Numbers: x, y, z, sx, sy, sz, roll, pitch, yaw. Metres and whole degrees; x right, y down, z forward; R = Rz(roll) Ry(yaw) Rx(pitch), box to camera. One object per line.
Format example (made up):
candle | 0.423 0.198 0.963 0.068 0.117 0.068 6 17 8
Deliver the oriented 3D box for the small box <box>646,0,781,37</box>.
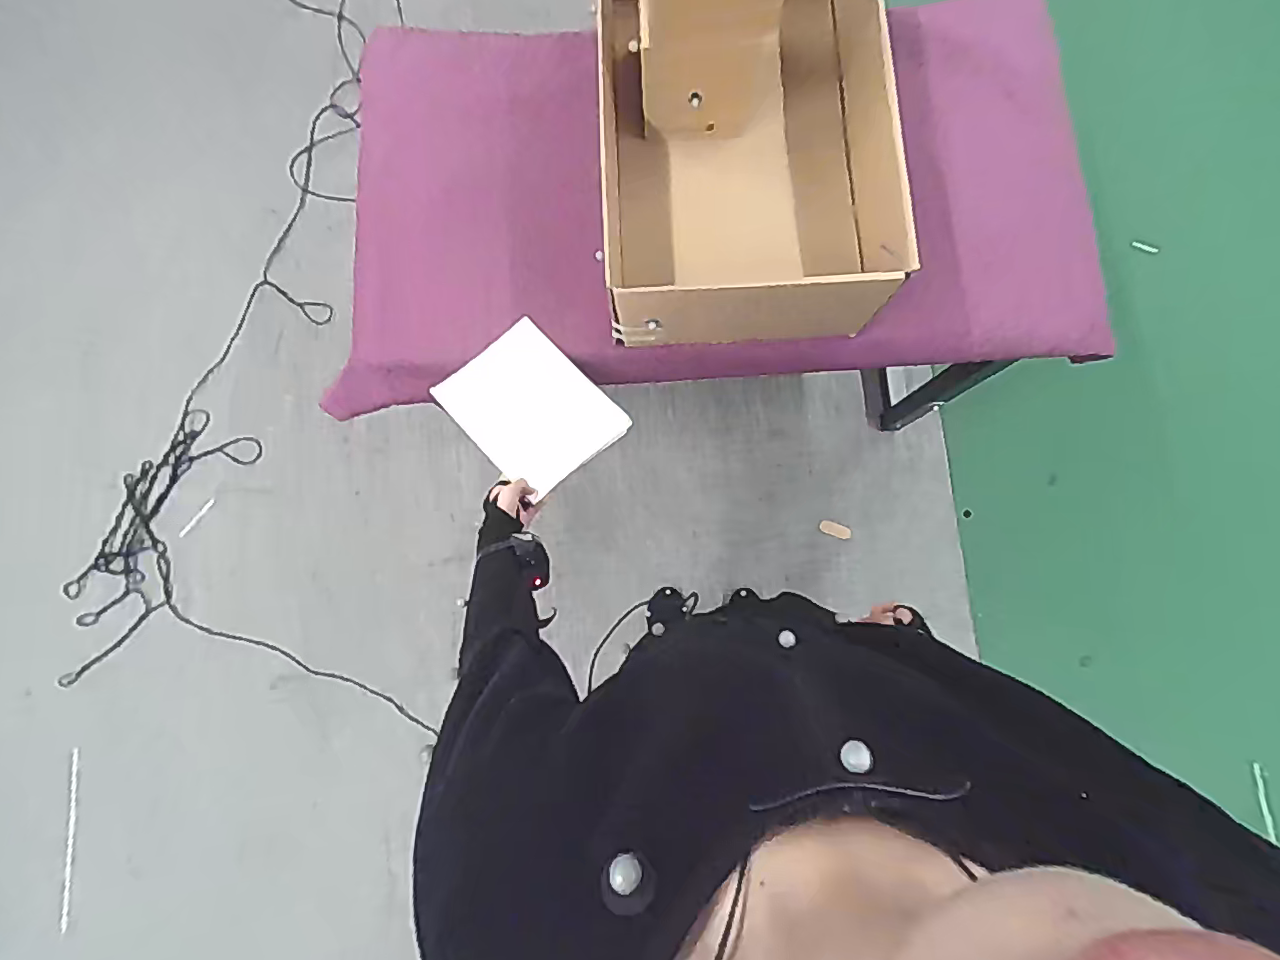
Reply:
small box | 0.088 -0.673 0.641 0.179 0.176 0.168 -5 82 2

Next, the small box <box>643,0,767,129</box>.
small box | 0.090 -0.653 0.801 0.168 0.176 0.179 -2 82 2
